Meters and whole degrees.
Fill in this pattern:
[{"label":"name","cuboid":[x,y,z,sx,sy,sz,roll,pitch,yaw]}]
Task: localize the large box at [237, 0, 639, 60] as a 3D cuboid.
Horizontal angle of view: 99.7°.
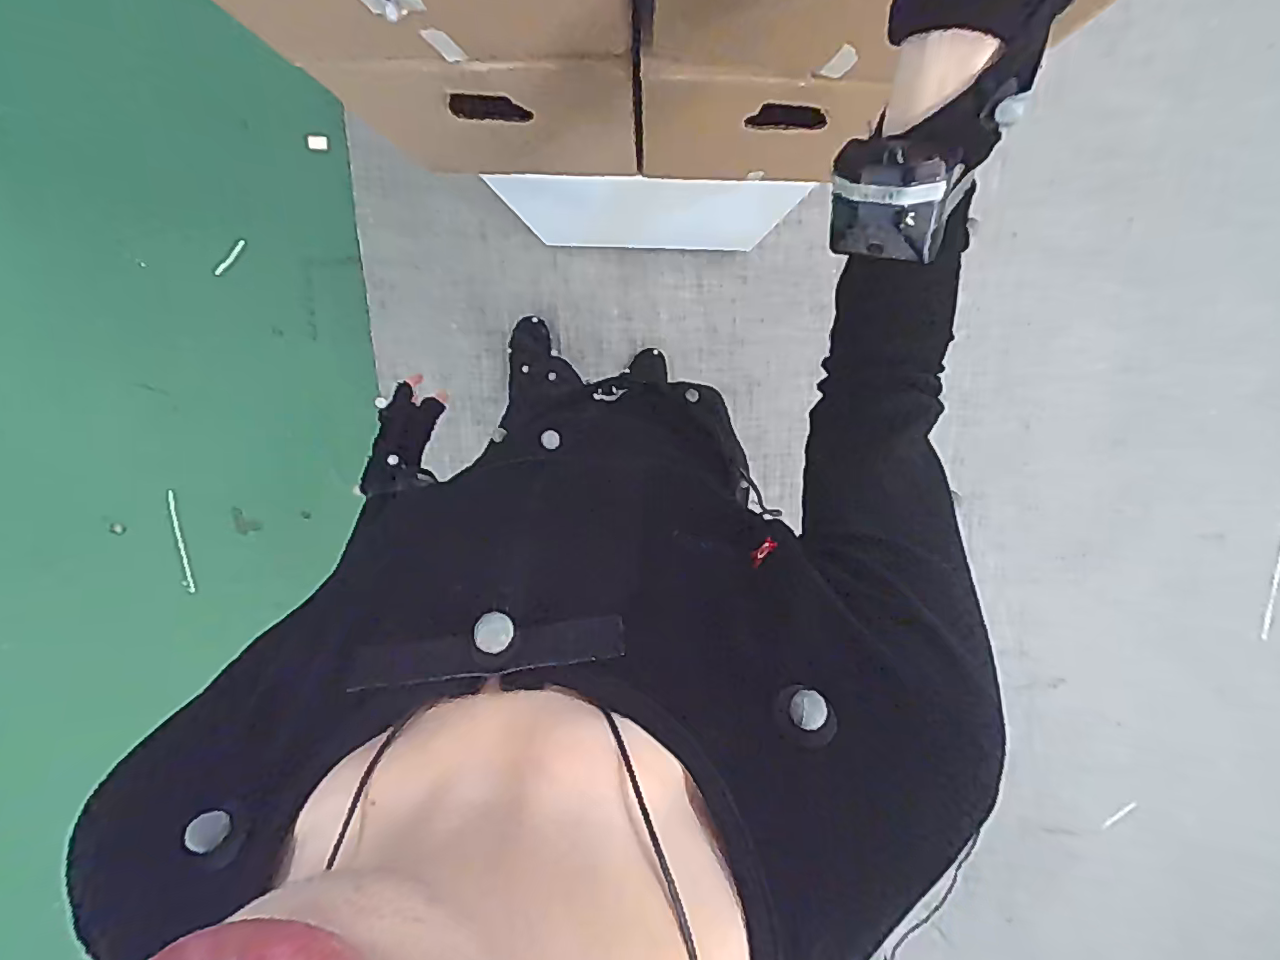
[{"label":"large box","cuboid":[-0.166,-0.543,0.296,0.320,0.320,0.408,-1,102,2]}]
